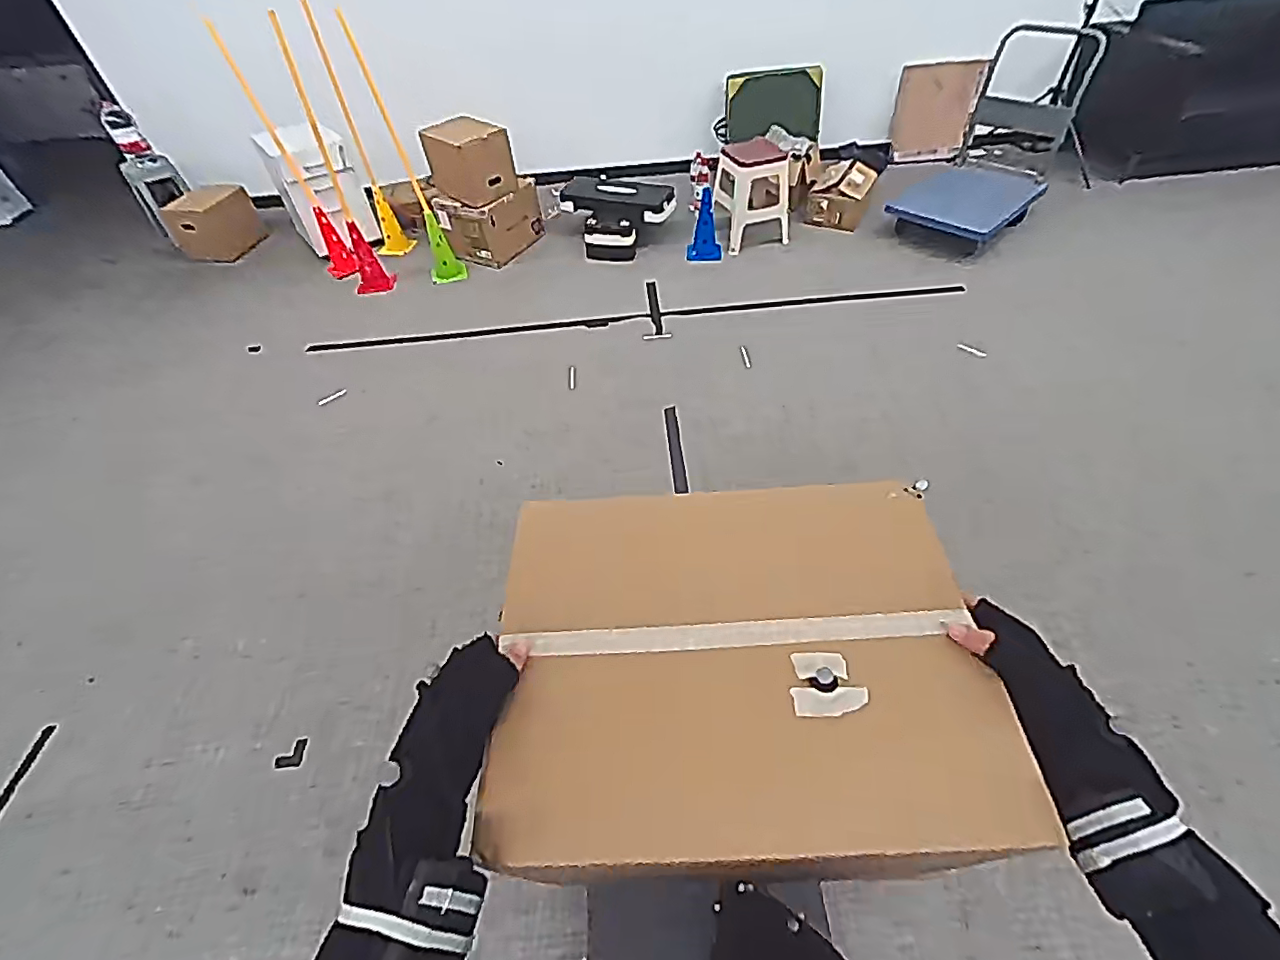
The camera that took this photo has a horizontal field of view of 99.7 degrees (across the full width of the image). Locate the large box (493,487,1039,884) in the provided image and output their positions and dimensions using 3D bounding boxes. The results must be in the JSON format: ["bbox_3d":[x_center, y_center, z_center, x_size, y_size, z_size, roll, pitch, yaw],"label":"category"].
[{"bbox_3d":[0.091,0.234,0.595,0.408,0.320,0.320,-4,51,2],"label":"large box"}]
